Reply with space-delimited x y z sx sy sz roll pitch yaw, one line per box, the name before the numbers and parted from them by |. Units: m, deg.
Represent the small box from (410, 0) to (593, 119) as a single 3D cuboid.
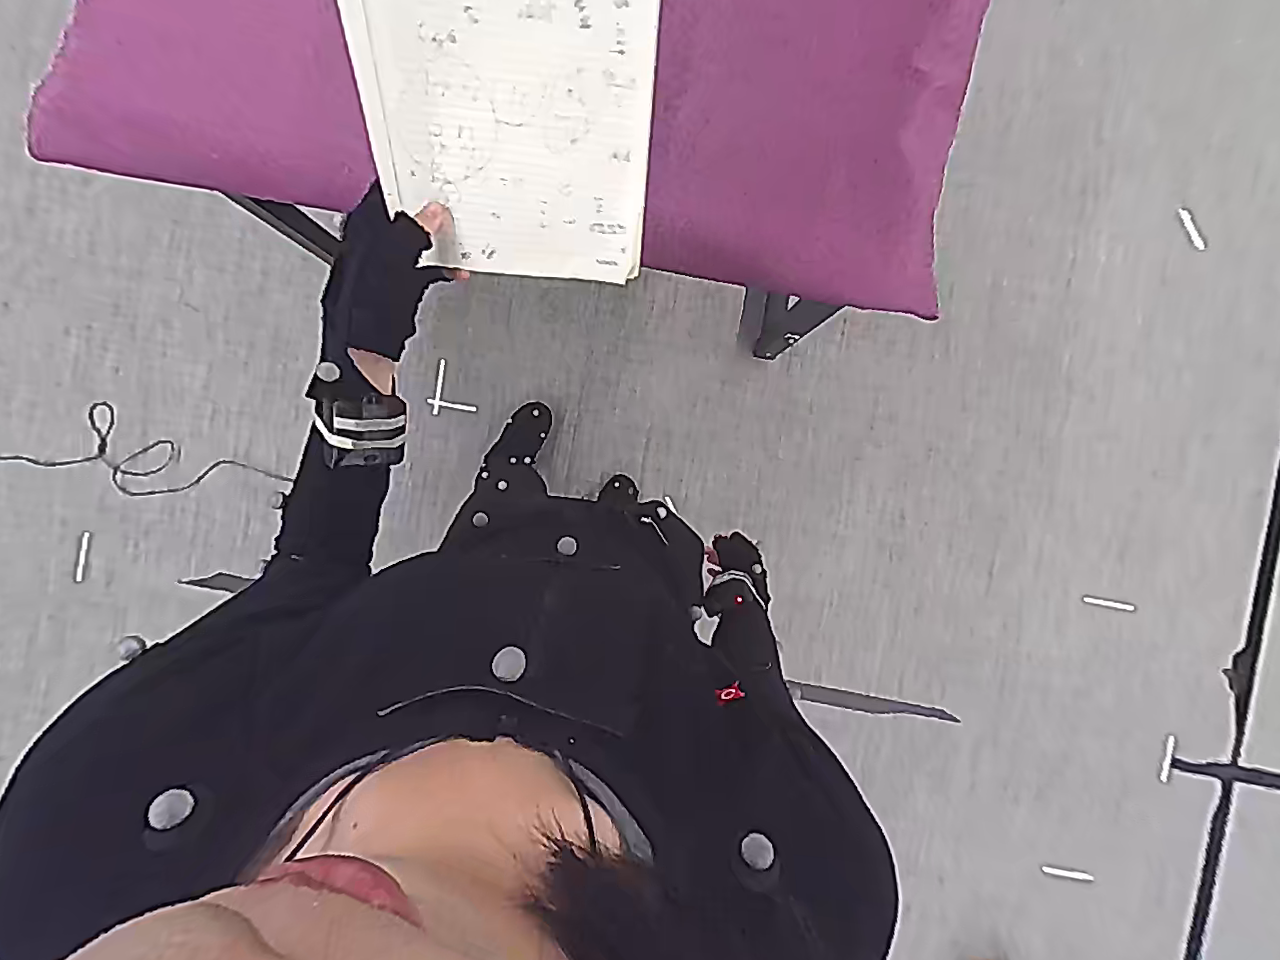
small box | -0.157 -0.591 0.673 0.179 0.176 0.168 10 91 -2
